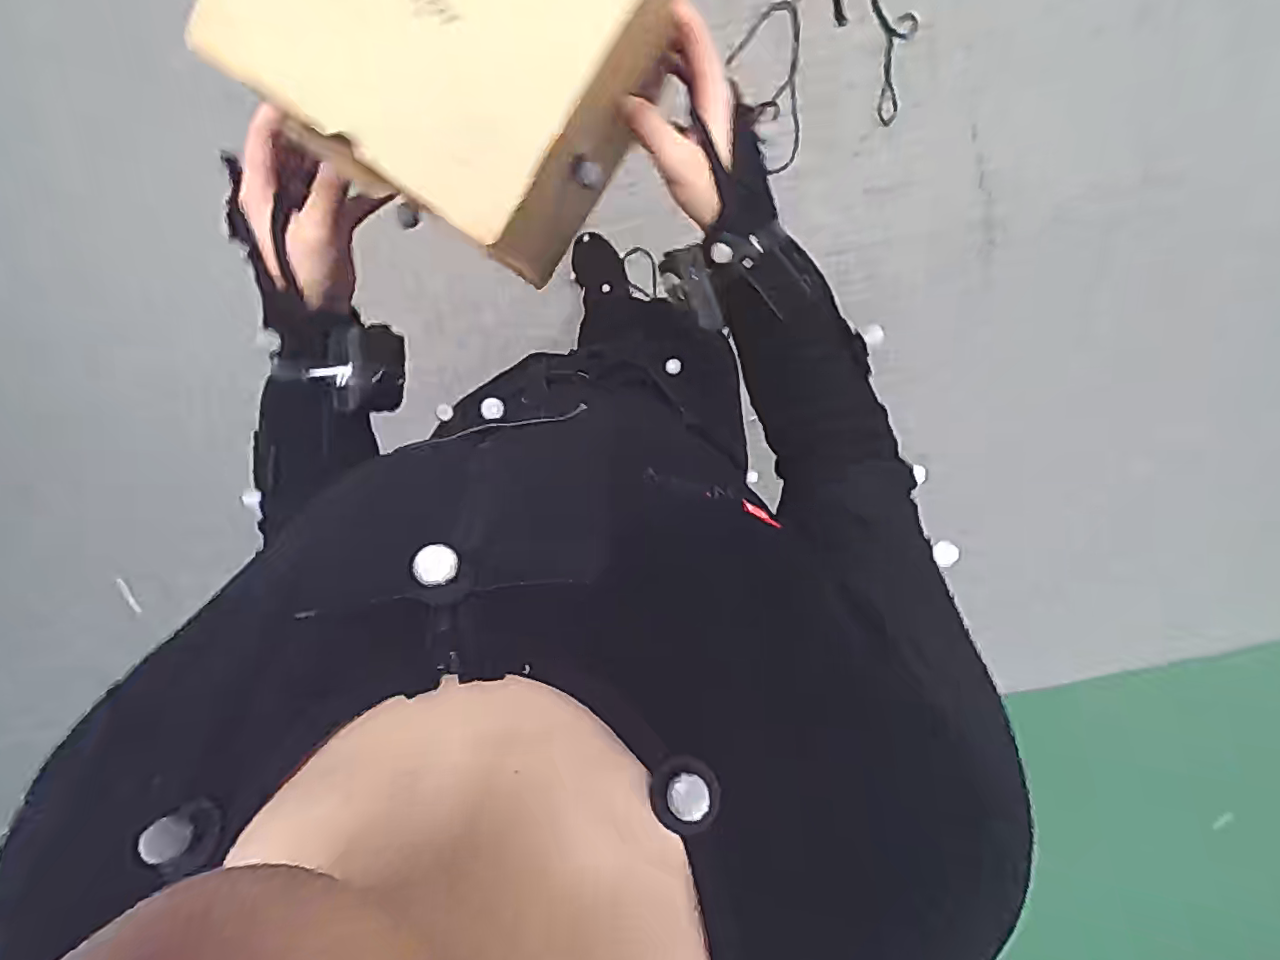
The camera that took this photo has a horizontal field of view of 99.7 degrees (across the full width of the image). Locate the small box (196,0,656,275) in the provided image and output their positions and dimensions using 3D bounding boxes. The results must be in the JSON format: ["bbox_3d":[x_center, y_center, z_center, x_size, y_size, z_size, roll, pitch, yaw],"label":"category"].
[{"bbox_3d":[-0.098,-0.249,0.328,0.168,0.176,0.179,33,102,-8],"label":"small box"}]
